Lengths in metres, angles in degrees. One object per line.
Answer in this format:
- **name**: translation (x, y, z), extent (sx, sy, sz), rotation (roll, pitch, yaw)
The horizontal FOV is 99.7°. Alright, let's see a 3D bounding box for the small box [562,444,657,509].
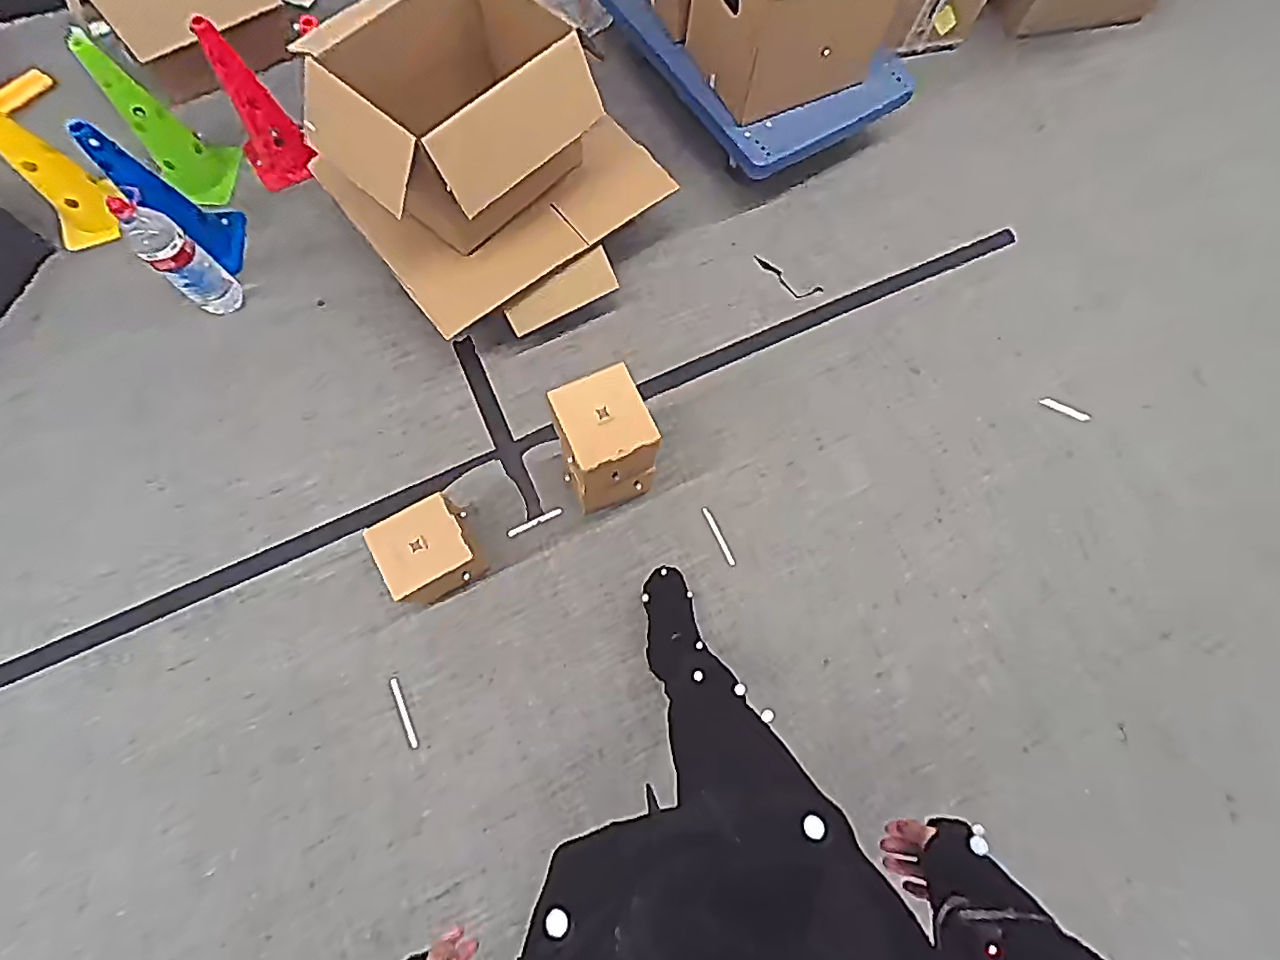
- **small box**: translation (-0.077, -0.048, 1.252), extent (0.179, 0.176, 0.168), rotation (-20, 76, -9)

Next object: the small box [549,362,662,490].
- **small box**: translation (-0.074, -0.103, 1.098), extent (0.168, 0.176, 0.179), rotation (-24, 78, -10)

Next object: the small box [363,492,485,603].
- **small box**: translation (-0.454, 0.151, 1.176), extent (0.179, 0.176, 0.168), rotation (-30, 77, -9)
